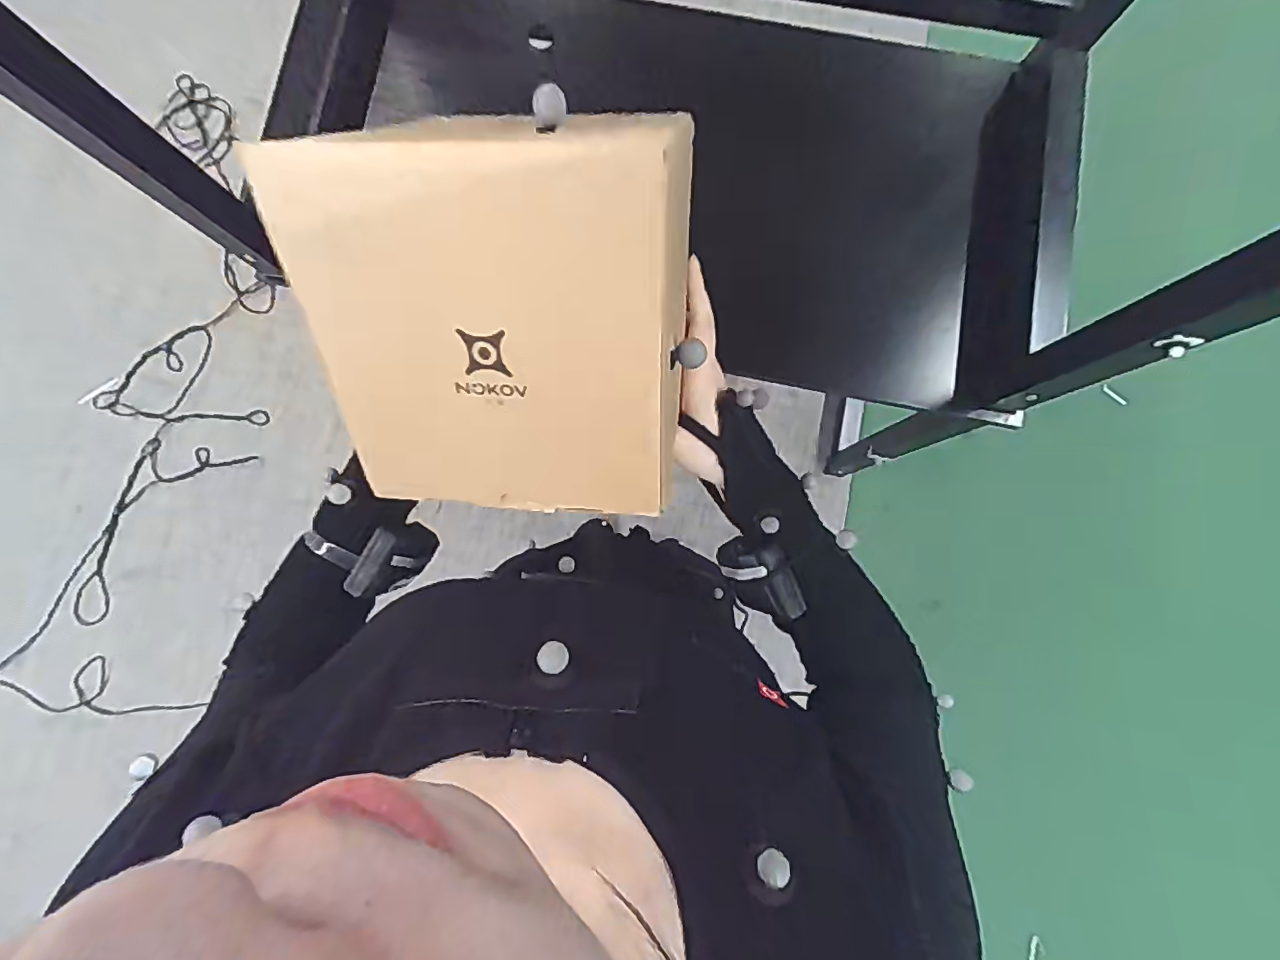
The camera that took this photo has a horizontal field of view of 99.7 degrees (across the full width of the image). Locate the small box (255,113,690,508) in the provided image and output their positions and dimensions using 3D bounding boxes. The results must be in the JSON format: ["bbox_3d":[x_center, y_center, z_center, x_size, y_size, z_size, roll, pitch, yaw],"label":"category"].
[{"bbox_3d":[-0.060,-0.106,0.314,0.168,0.176,0.179,4,127,7],"label":"small box"}]
